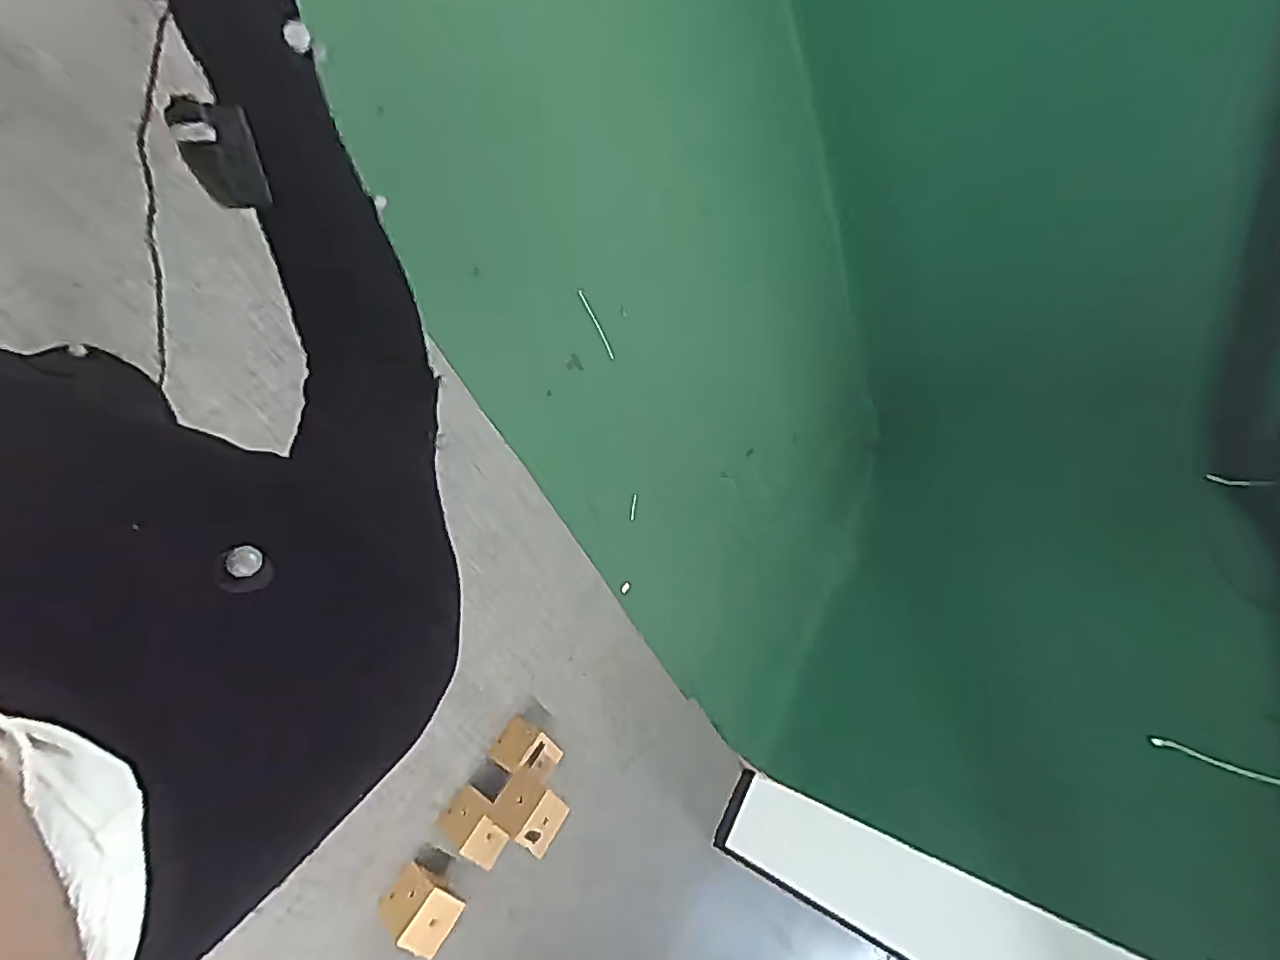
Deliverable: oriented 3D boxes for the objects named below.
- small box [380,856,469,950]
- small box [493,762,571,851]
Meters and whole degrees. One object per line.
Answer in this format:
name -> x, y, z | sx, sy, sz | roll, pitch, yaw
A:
small box -> -0.709, 1.375, 1.769 | 0.168, 0.176, 0.179 | -52, 130, -31
small box -> -0.380, 1.117, 1.859 | 0.179, 0.176, 0.168 | -51, 130, -32
